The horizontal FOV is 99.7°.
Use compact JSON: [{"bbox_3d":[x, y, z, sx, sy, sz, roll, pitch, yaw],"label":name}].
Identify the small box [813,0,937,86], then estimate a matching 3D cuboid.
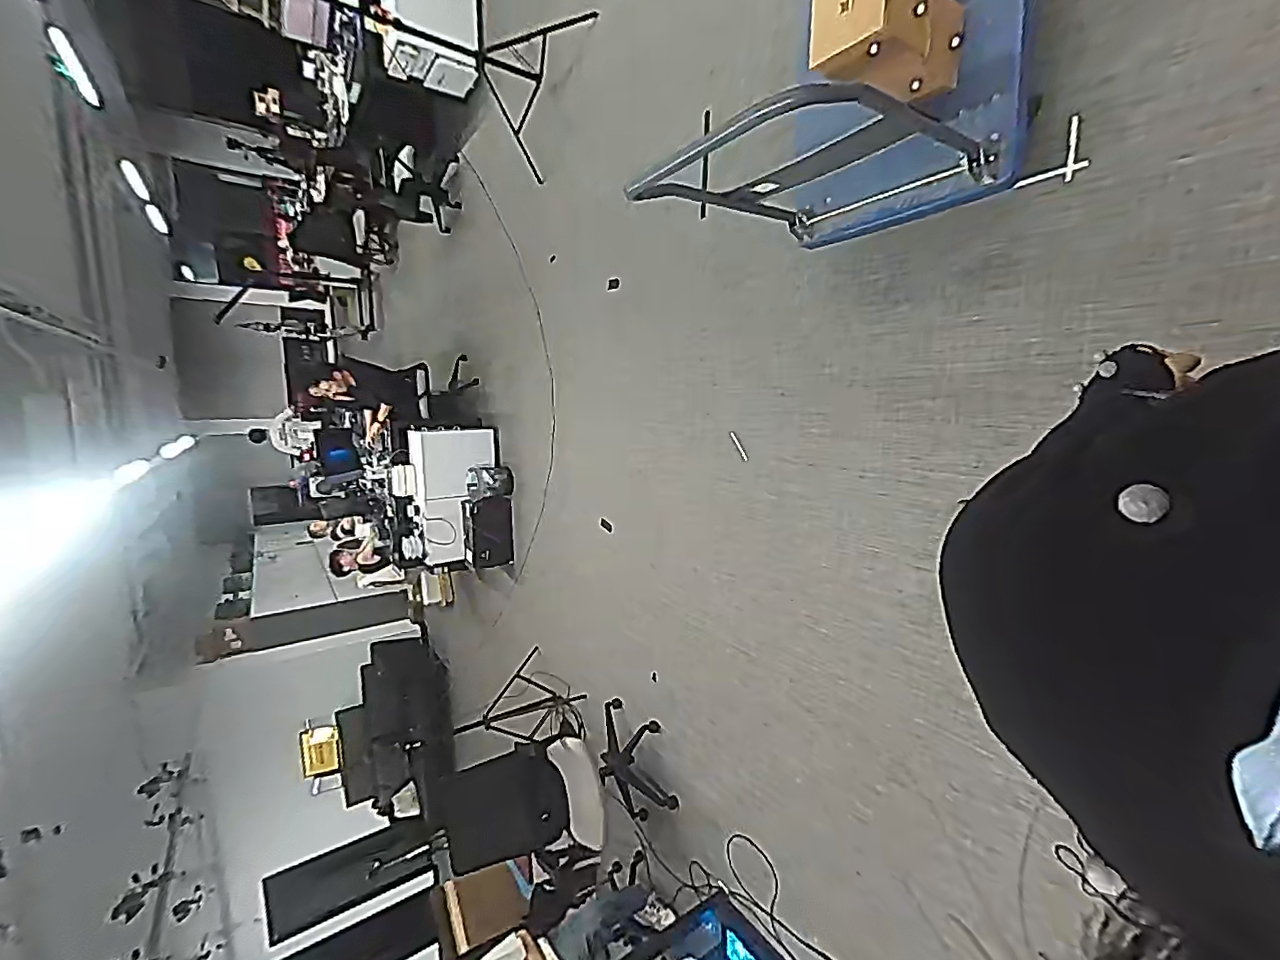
[{"bbox_3d":[0.486,-0.963,1.120,0.179,0.176,0.168,12,105,53],"label":"small box"}]
